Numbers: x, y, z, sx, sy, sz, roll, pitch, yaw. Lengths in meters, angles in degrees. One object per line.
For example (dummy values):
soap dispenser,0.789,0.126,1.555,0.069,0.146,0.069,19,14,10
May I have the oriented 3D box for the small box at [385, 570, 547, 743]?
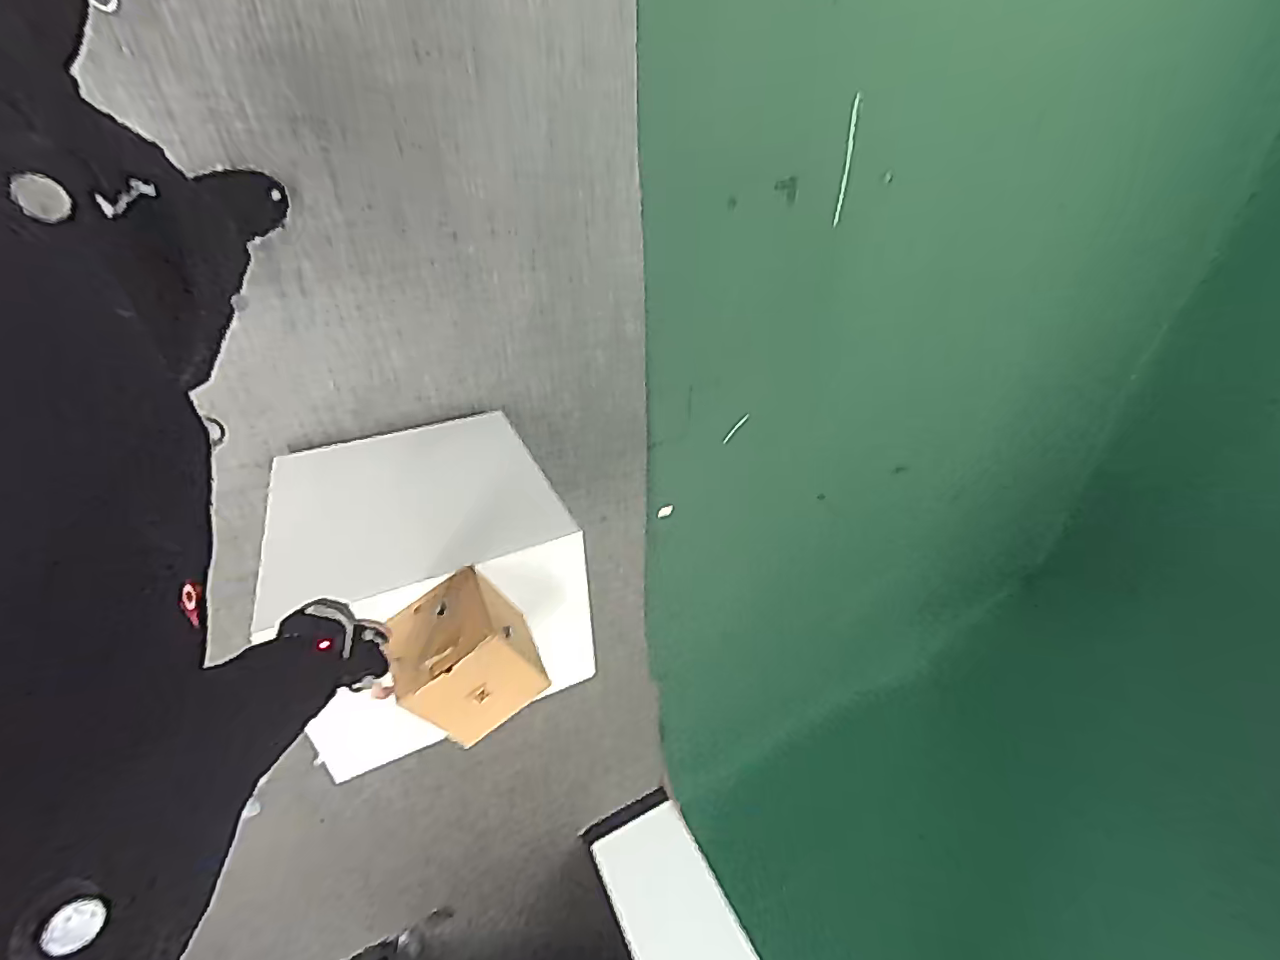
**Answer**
small box,-0.280,0.278,0.870,0.168,0.176,0.179,-35,132,-7
